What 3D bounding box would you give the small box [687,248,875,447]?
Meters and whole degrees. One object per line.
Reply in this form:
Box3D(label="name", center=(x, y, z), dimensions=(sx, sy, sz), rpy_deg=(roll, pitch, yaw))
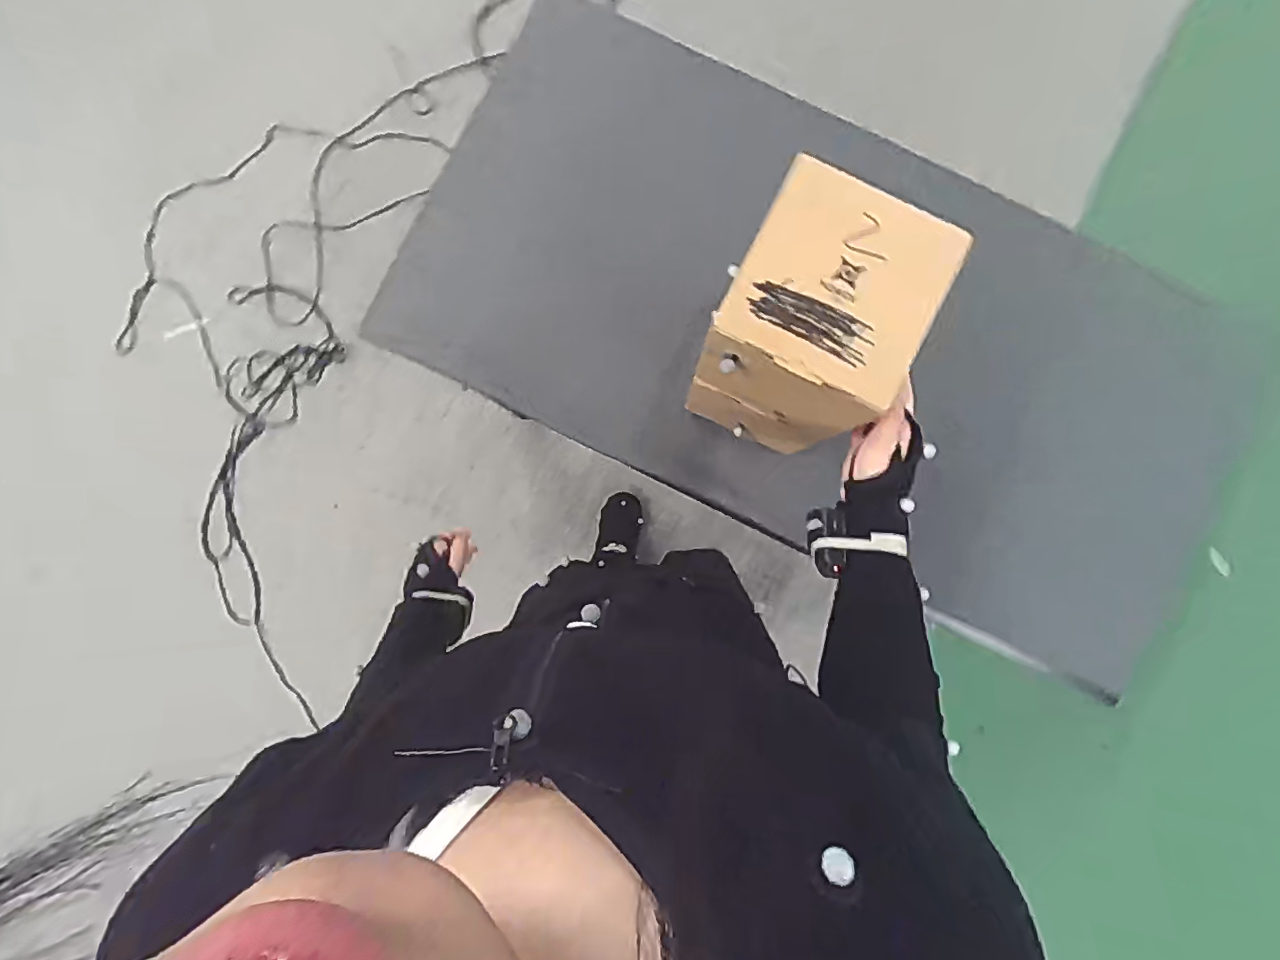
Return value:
Box3D(label="small box", center=(0.169, -0.159, 0.710), dimensions=(0.168, 0.176, 0.179), rpy_deg=(24, 88, 2))
